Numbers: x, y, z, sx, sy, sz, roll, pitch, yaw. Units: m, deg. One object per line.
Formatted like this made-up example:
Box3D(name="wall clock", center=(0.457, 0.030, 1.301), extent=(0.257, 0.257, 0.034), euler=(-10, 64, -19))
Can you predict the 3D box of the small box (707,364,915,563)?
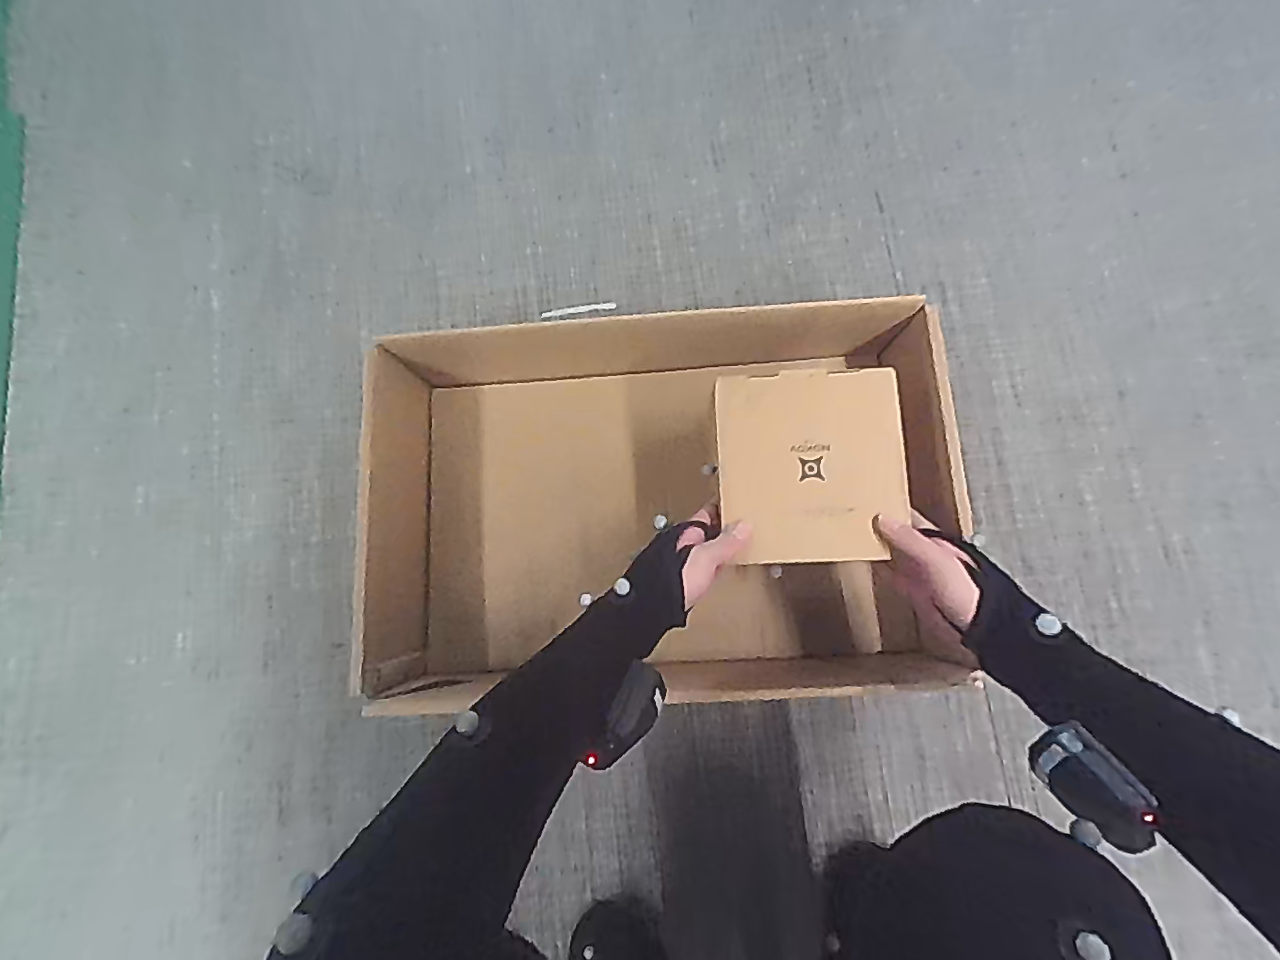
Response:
Box3D(name="small box", center=(0.158, -0.005, 0.561), extent=(0.168, 0.176, 0.179), euler=(-2, 80, 4))
